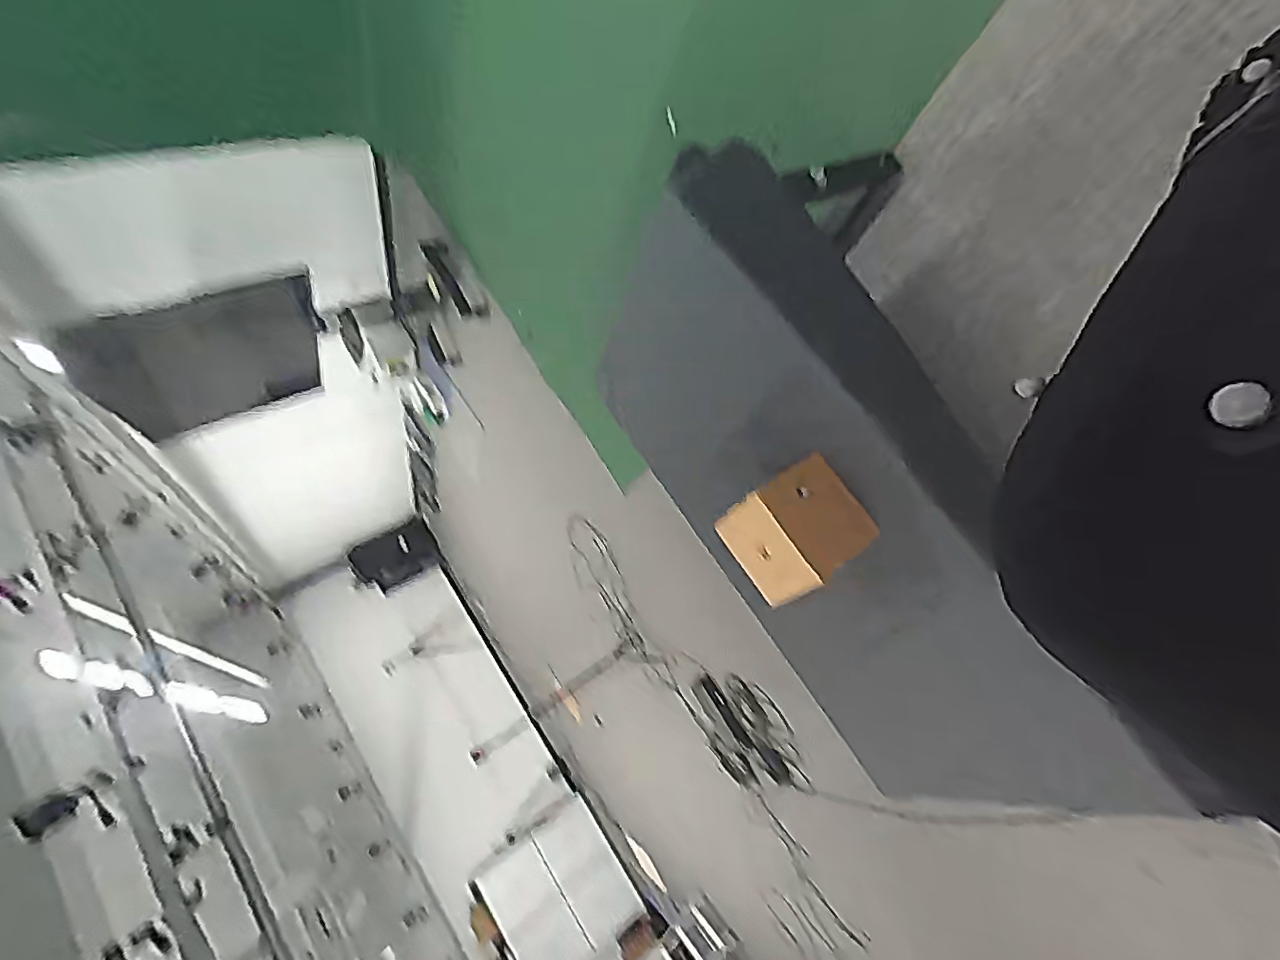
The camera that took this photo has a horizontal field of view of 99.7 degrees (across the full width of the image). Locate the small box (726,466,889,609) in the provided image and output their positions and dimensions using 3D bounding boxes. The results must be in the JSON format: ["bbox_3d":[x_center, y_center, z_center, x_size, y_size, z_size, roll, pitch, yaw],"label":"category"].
[{"bbox_3d":[0.292,0.095,0.956,0.179,0.176,0.168,53,151,13],"label":"small box"}]
